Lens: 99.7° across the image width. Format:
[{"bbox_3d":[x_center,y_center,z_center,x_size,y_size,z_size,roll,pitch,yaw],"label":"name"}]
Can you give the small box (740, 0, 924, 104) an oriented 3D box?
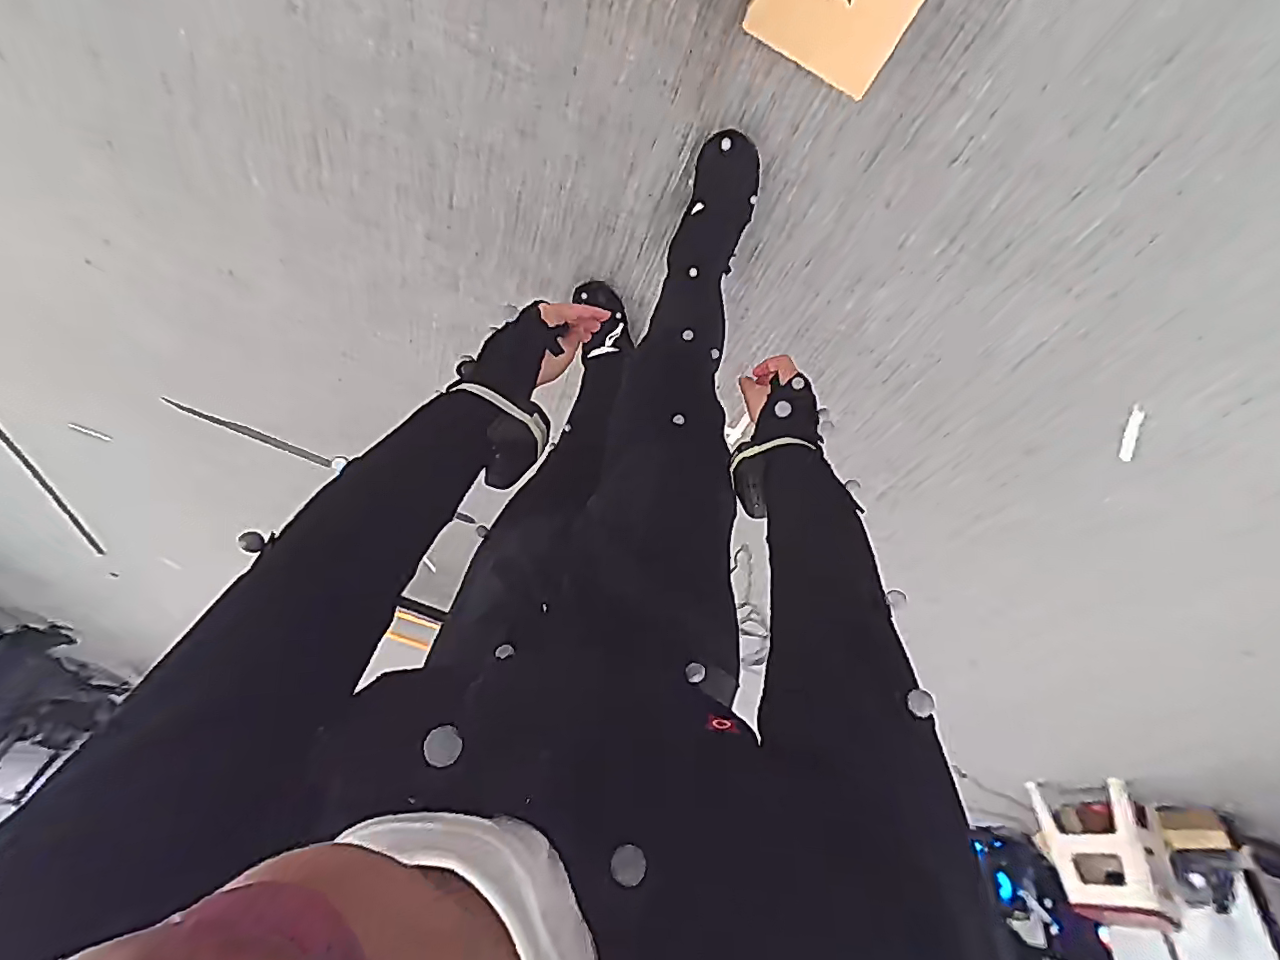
[{"bbox_3d":[0.248,-0.619,0.672,0.179,0.176,0.168,25,139,-9],"label":"small box"}]
